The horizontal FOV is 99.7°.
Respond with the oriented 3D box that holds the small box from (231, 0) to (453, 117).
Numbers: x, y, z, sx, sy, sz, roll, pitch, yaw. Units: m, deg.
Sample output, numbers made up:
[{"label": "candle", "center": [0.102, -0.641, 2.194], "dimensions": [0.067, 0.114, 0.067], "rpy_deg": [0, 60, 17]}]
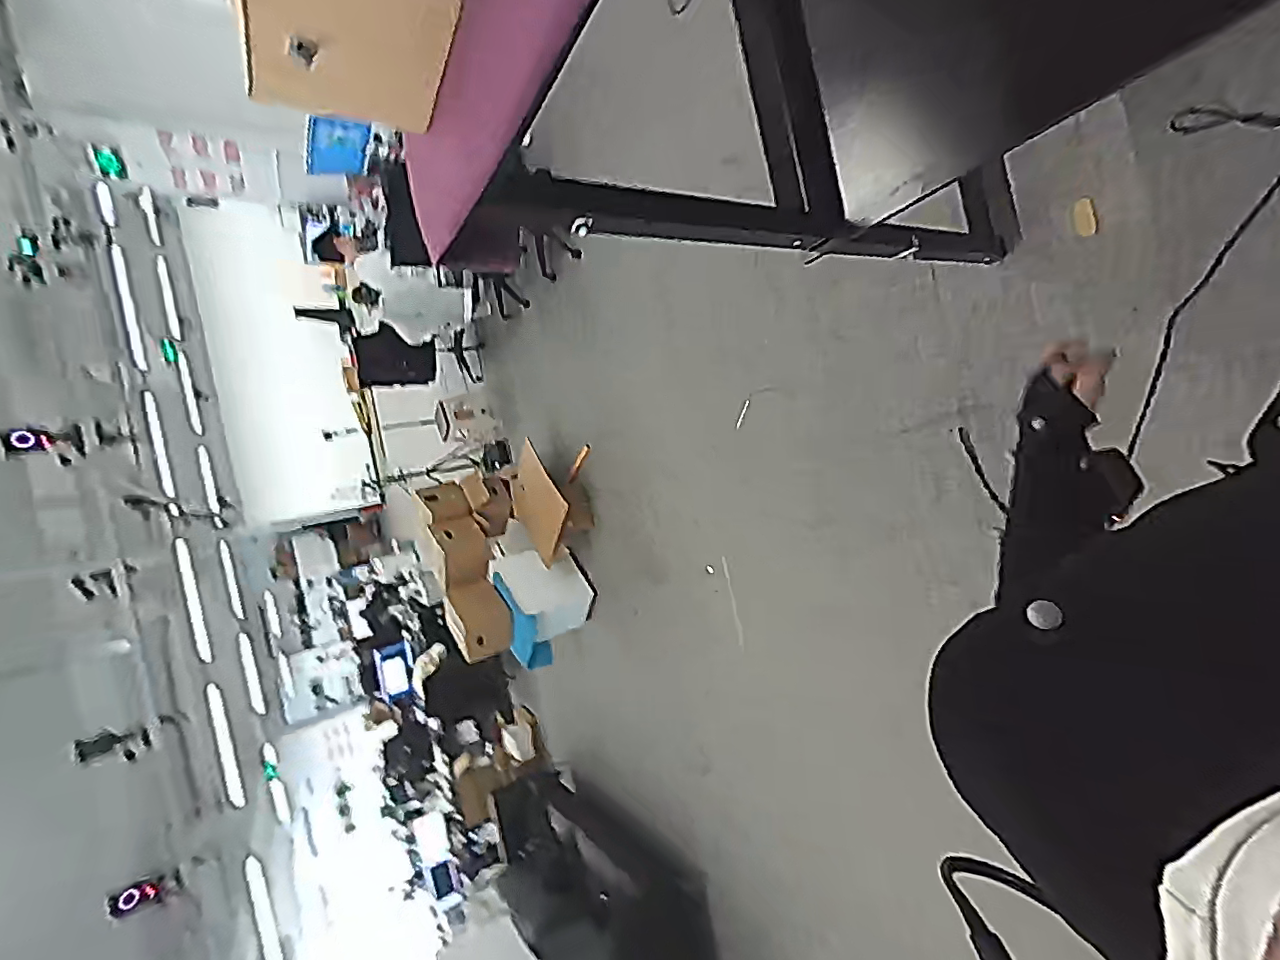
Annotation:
[{"label": "small box", "center": [-0.286, -0.483, 0.505], "dimensions": [0.179, 0.176, 0.168], "rpy_deg": [-17, 85, 56]}]
